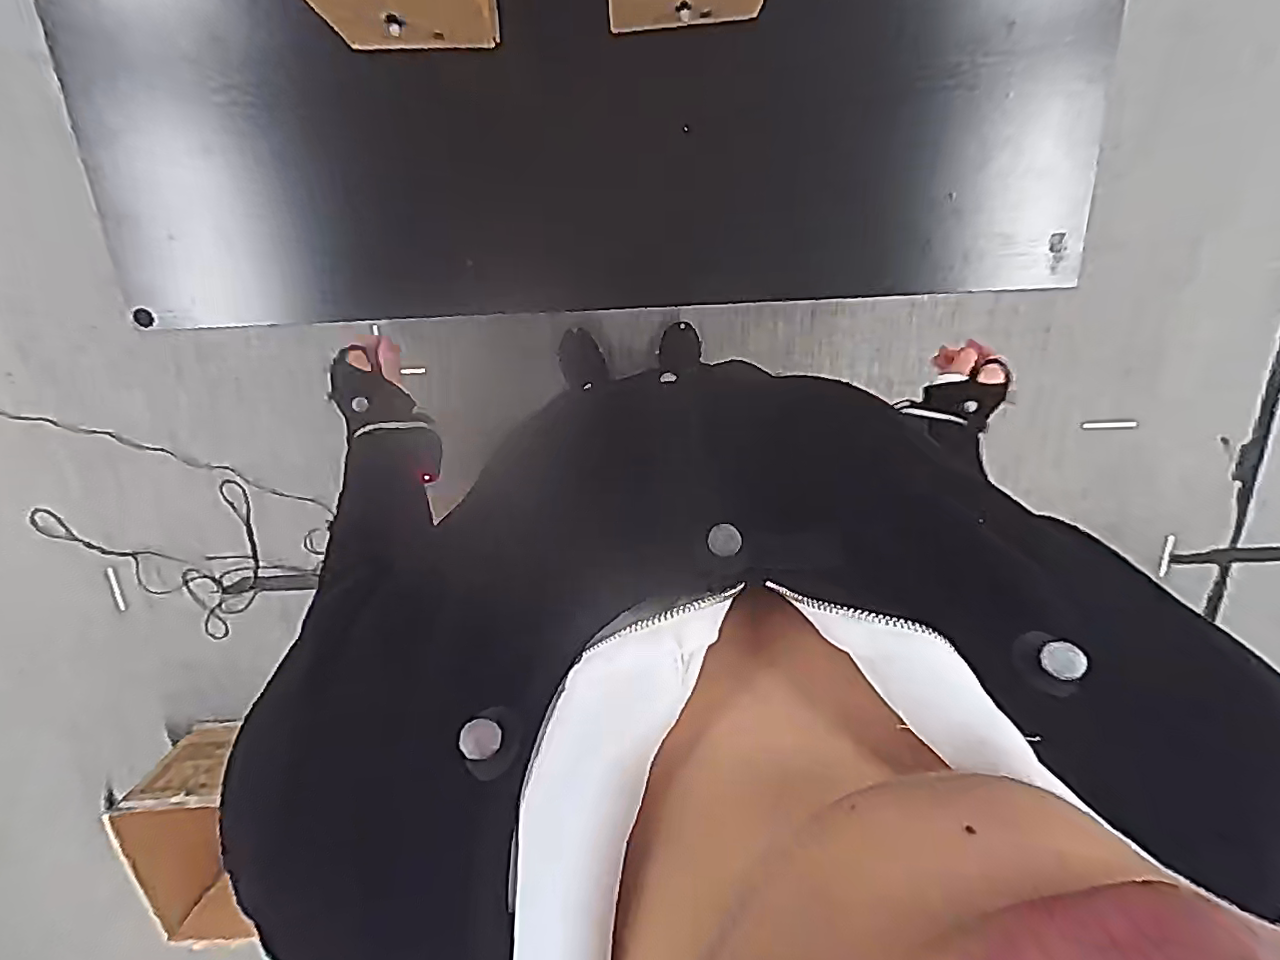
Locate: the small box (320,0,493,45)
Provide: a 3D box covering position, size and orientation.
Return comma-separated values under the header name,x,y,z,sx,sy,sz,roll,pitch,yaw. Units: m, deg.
name,x,y,z,sx,sy,sz,roll,pitch,yaw
small box,-0.243,-0.551,0.505,0.168,0.176,0.179,-2,107,-1
